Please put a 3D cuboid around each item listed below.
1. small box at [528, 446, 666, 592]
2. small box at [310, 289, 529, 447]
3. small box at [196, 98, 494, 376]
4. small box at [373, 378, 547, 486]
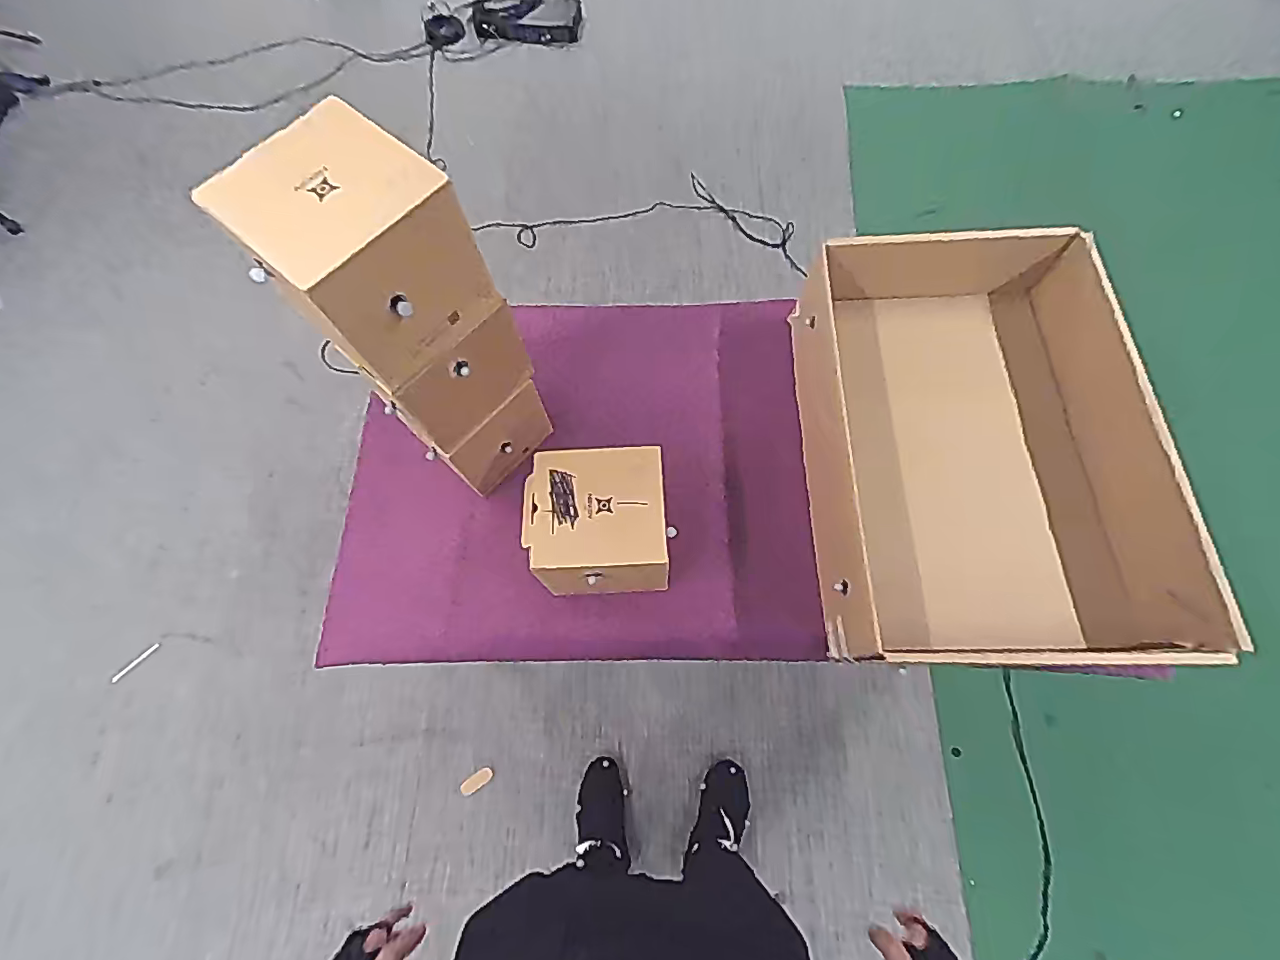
[{"bbox_3d":[-0.053,0.064,0.780,0.179,0.176,0.168,-3,67,1],"label":"small box"},{"bbox_3d":[-0.271,-0.174,0.709,0.168,0.176,0.179,40,75,14],"label":"small box"},{"bbox_3d":[-0.281,-0.234,0.559,0.179,0.176,0.168,38,75,15],"label":"small box"},{"bbox_3d":[-0.271,-0.110,0.859,0.179,0.176,0.168,40,74,16],"label":"small box"}]
